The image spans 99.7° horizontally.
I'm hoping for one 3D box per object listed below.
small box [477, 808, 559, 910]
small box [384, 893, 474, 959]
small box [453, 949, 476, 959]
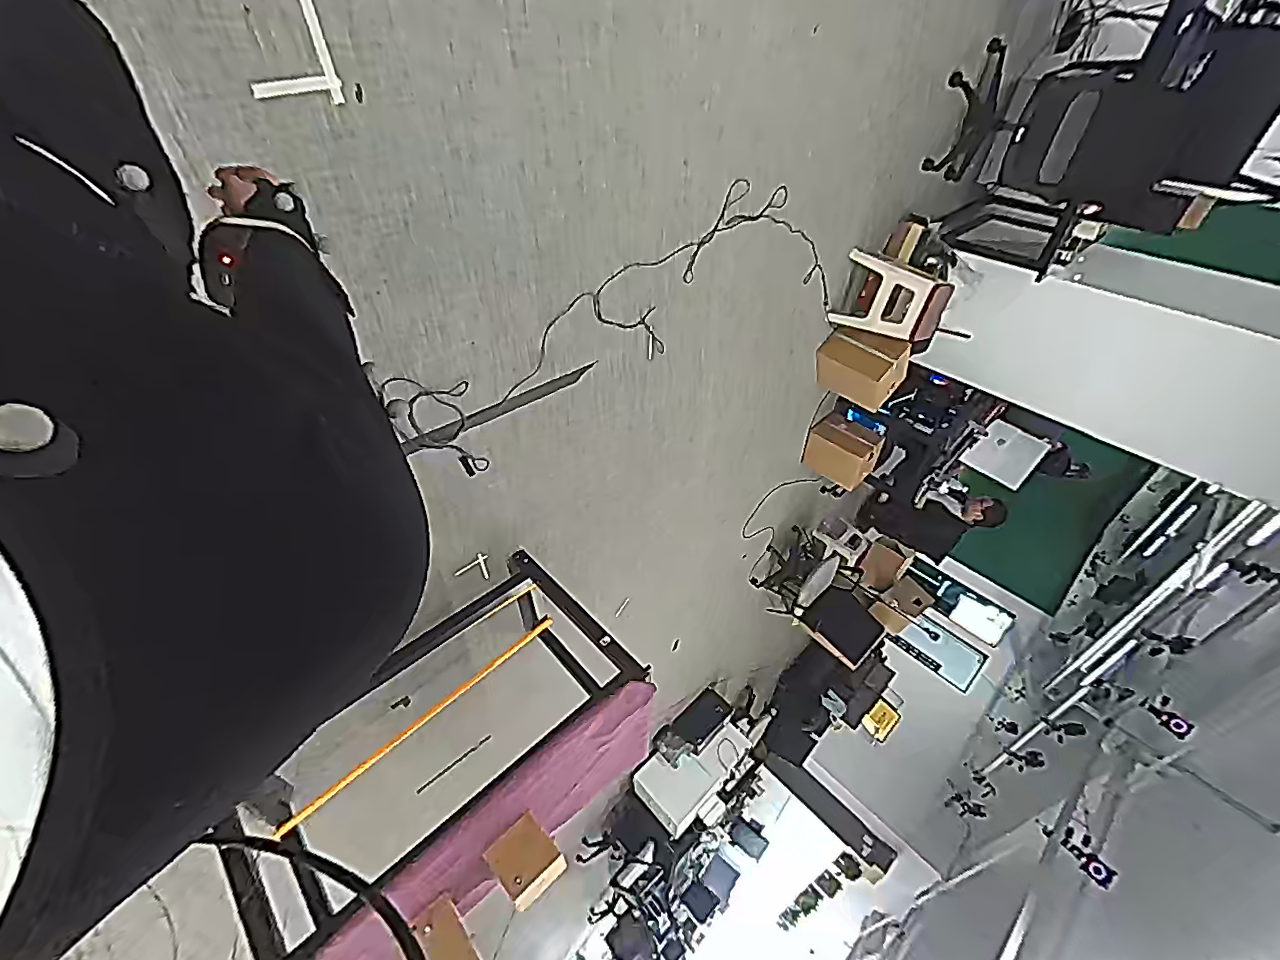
[{"bbox_3d":[-0.371,1.154,1.655,0.179,0.176,0.168,-32,142,-31],"label":"small box"},{"bbox_3d":[-0.589,1.311,1.514,0.168,0.176,0.179,-30,140,-34],"label":"small box"},{"bbox_3d":[-0.478,1.394,1.426,0.168,0.176,0.179,-30,141,-34],"label":"small box"}]
